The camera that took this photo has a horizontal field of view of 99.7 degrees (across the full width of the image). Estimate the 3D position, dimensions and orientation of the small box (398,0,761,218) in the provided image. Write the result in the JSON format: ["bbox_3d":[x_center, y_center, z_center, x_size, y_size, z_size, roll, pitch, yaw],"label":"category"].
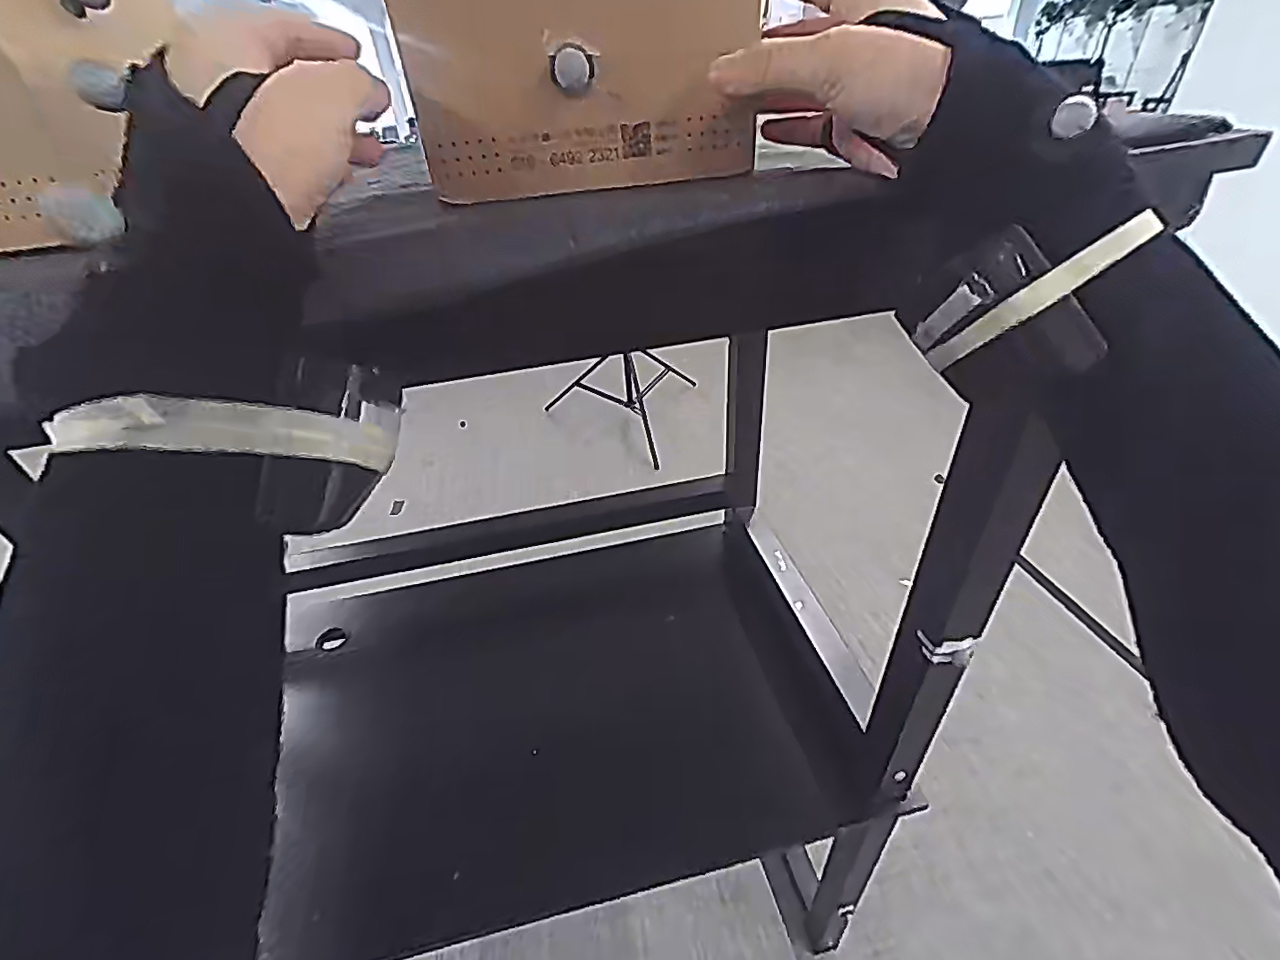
[{"bbox_3d":[-0.034,-0.255,0.305,0.168,0.176,0.179,-7,36,-2],"label":"small box"}]
